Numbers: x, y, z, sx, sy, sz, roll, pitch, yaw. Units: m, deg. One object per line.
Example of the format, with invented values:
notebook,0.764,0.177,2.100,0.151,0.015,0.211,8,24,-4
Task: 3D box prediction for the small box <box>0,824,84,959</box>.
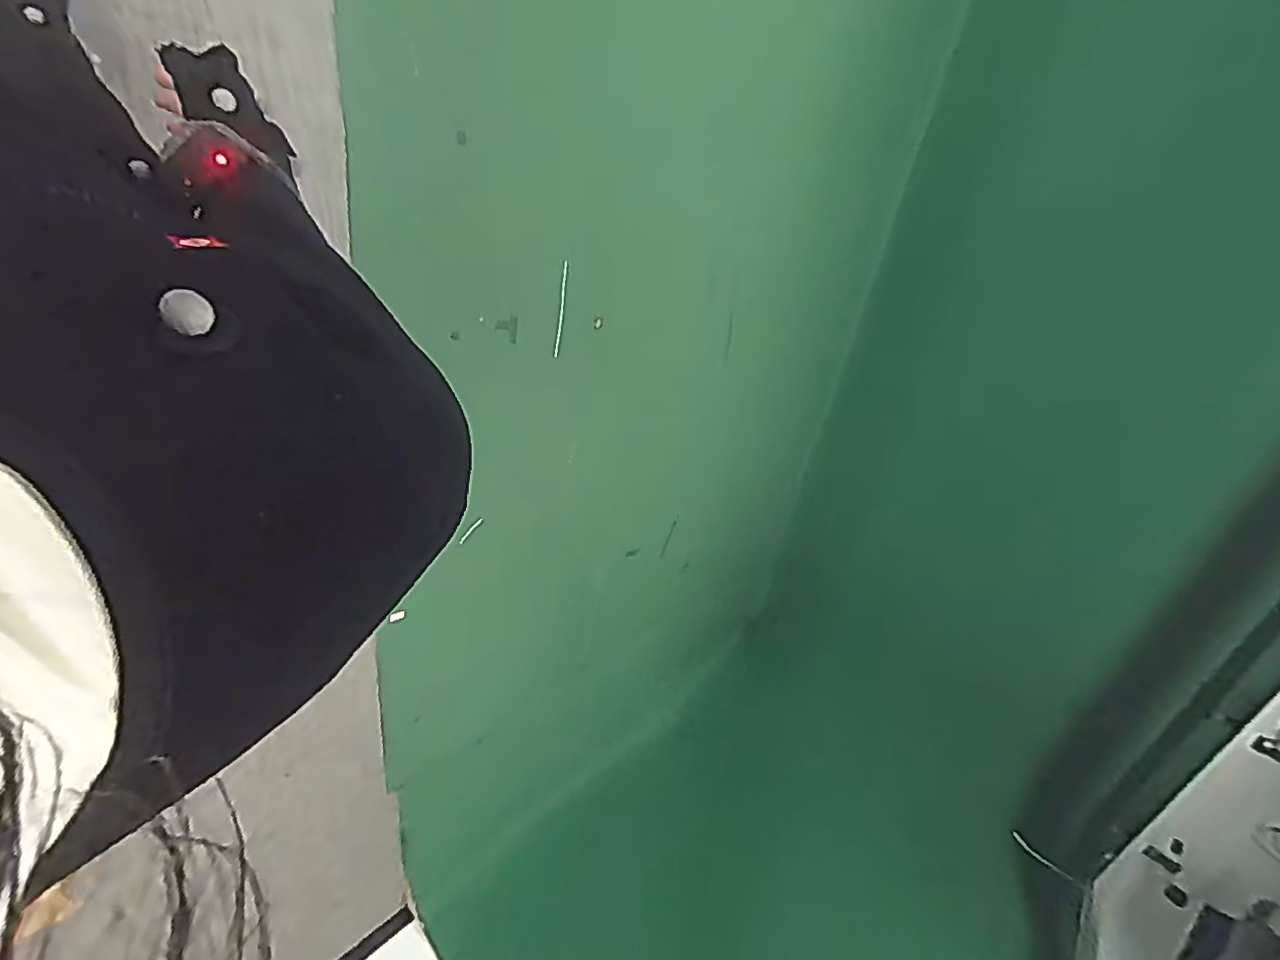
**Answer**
small box,-1.451,0.968,1.267,0.179,0.176,0.168,-14,125,-48
